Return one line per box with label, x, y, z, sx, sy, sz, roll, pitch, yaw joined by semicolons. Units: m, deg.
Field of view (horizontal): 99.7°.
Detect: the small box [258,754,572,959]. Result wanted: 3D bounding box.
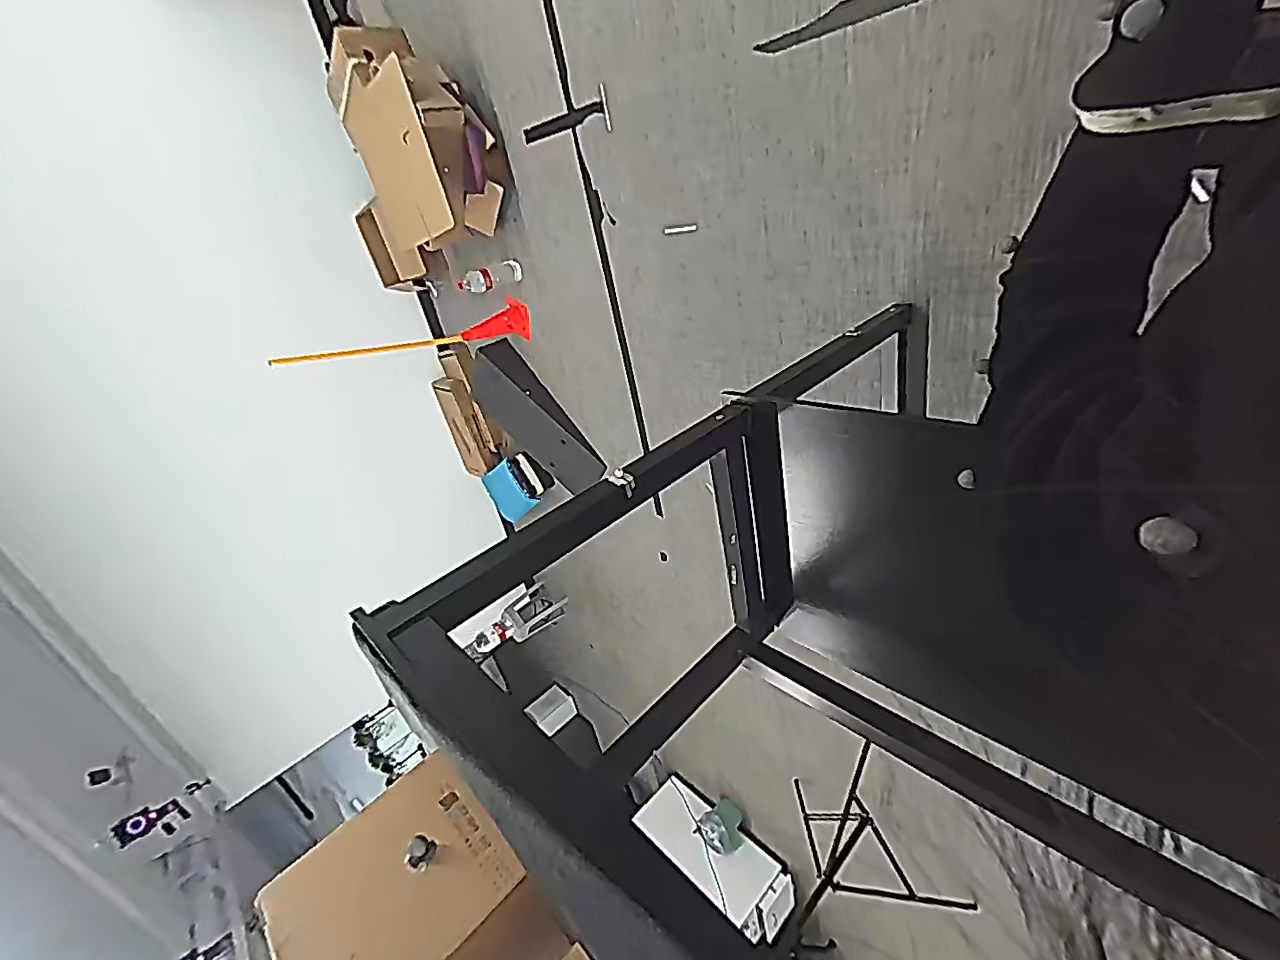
small box;-0.181;0.389;0.468;0.168;0.176;0.179;19;132;43
